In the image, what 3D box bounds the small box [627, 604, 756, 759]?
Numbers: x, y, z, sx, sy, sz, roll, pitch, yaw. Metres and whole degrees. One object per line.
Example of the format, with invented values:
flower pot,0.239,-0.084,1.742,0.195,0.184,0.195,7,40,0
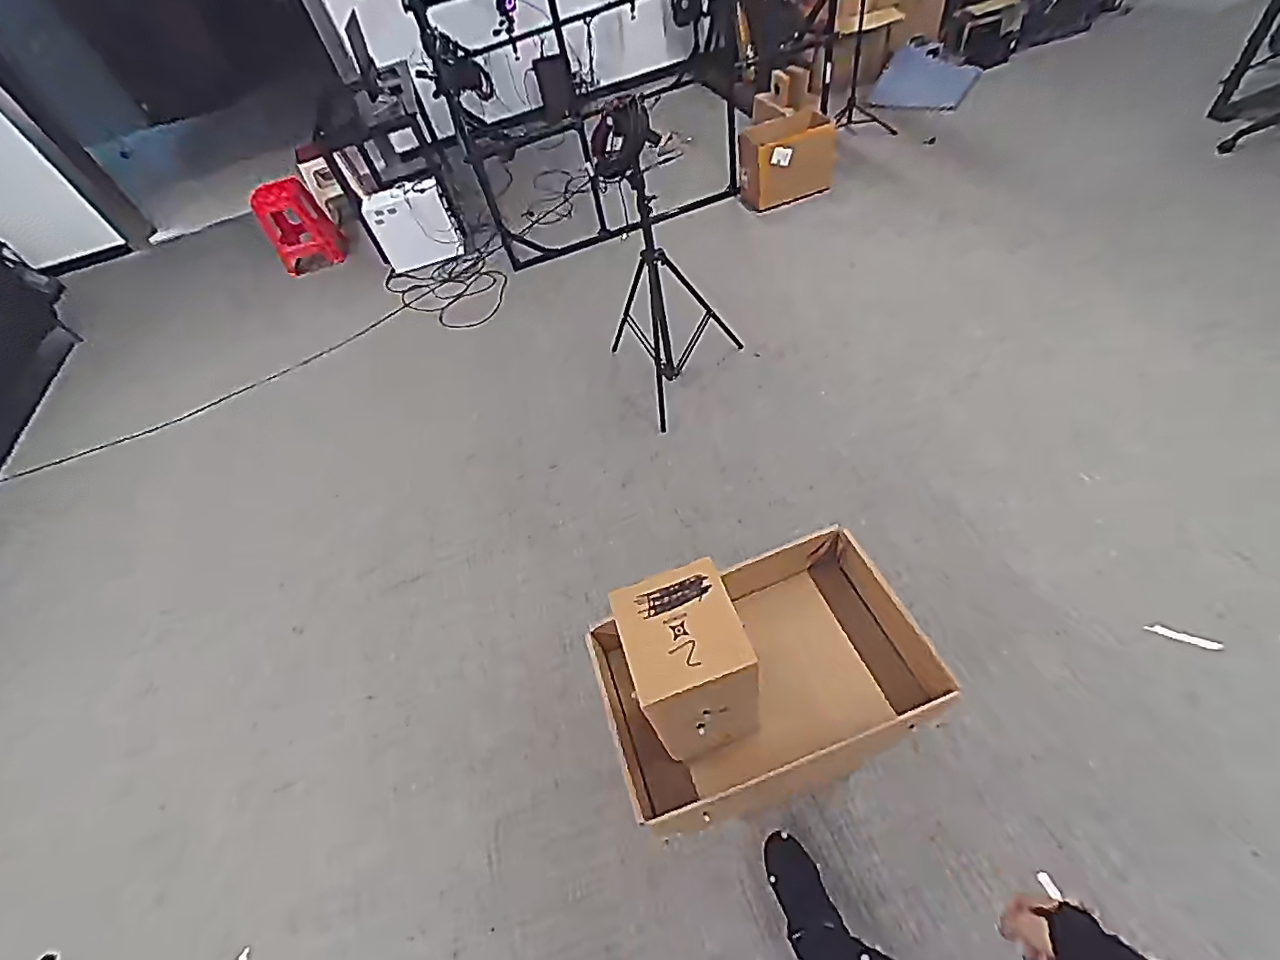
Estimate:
small box,0.091,0.352,0.940,0.168,0.176,0.179,-21,49,-3
